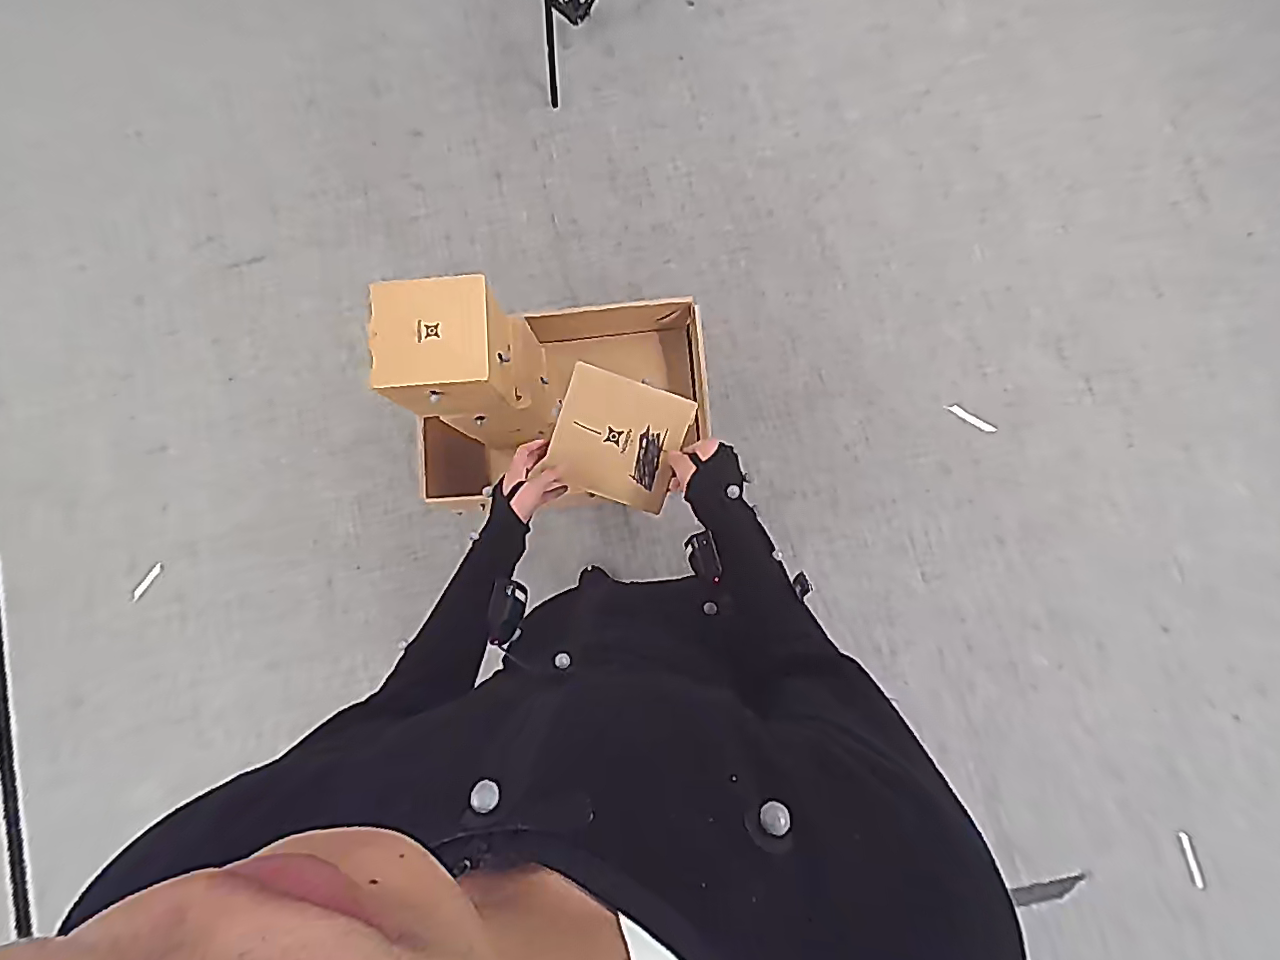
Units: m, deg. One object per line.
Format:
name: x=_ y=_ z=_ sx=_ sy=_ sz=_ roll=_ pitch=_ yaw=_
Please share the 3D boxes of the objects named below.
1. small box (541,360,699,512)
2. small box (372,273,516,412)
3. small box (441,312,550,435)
small box: x=-0.034 y=-0.067 z=0.808 sx=0.179 sy=0.176 sz=0.168 roll=19 pitch=94 yaw=-7
small box: x=-0.302 y=-0.211 z=0.869 sx=0.179 sy=0.176 sz=0.168 roll=-5 pitch=83 yaw=1
small box: x=-0.272 y=-0.195 z=1.030 sx=0.168 sy=0.176 sz=0.179 roll=-7 pitch=83 yaw=1
